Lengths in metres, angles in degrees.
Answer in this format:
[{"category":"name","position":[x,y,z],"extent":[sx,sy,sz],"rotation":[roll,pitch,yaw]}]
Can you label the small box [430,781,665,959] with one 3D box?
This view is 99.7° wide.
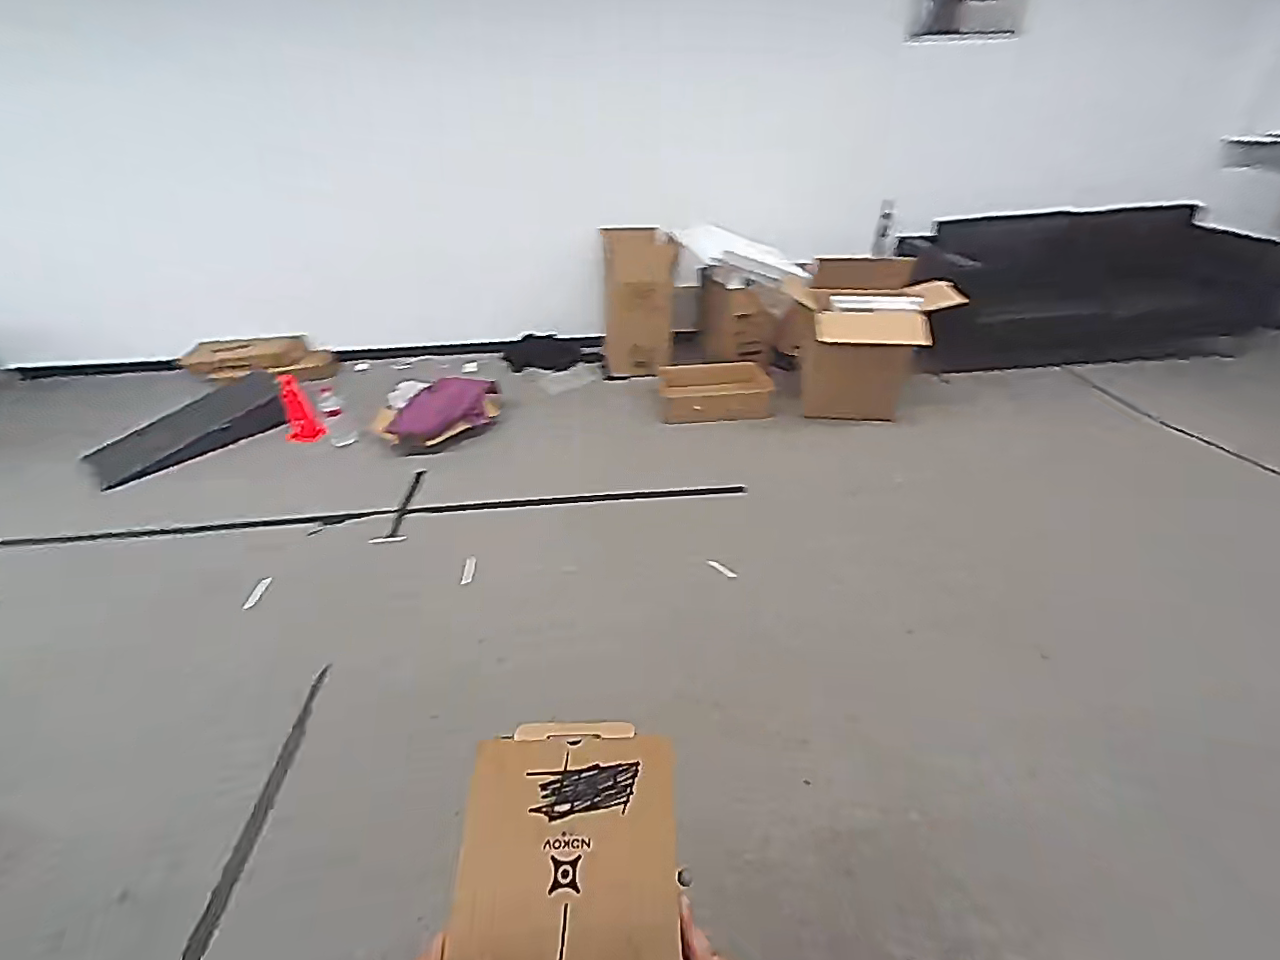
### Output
[{"category":"small box","position":[-0.066,0.369,0.451],"extent":[0.168,0.176,0.179],"rotation":[-2,50,-1]}]
